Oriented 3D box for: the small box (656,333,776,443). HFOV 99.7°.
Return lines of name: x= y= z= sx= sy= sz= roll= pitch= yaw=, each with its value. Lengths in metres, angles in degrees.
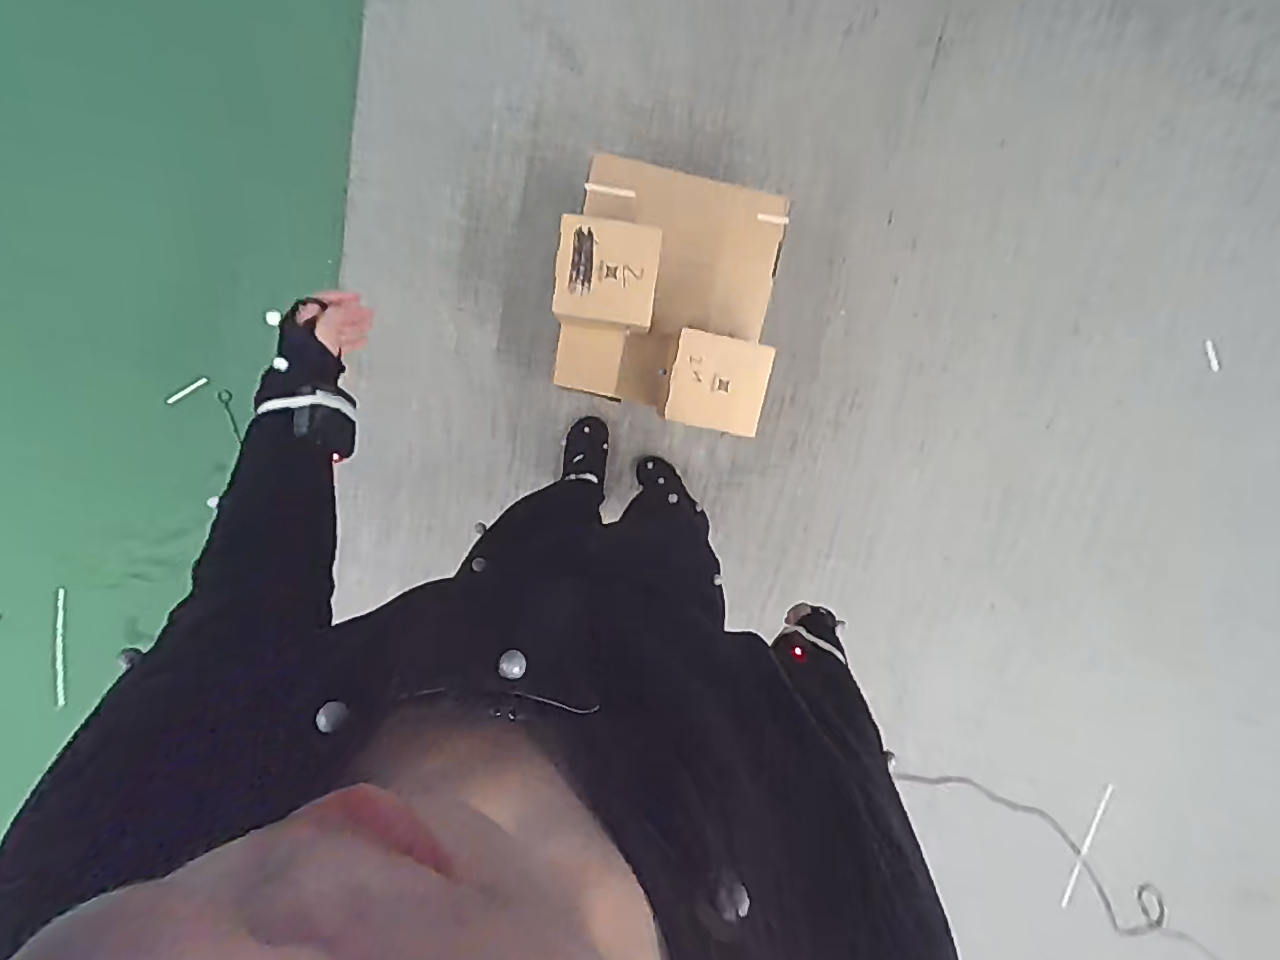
small box: x=0.137 y=-0.178 z=1.047 sx=0.179 sy=0.176 sz=0.168 roll=12 pitch=99 yaw=-5
